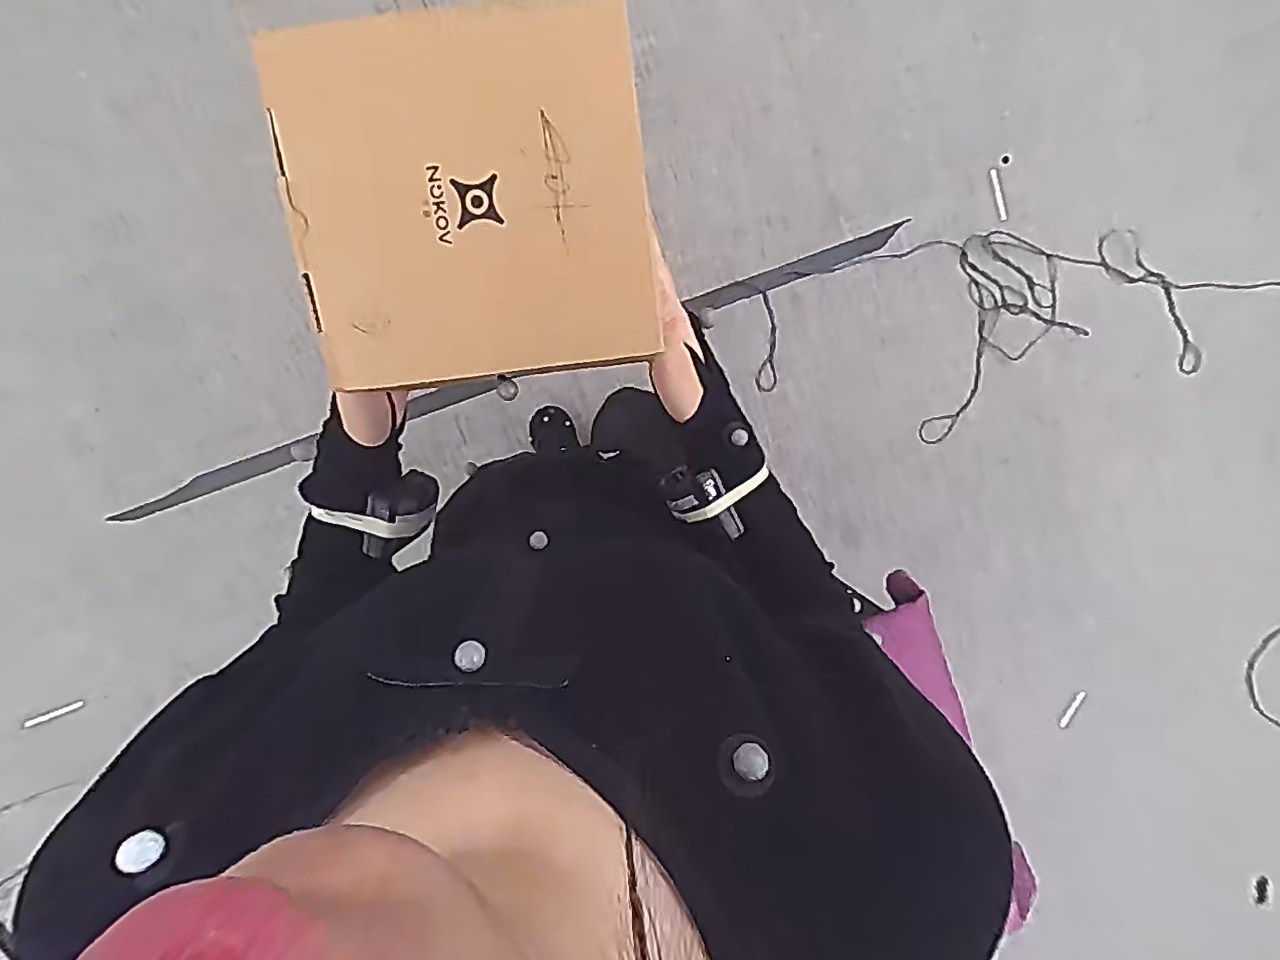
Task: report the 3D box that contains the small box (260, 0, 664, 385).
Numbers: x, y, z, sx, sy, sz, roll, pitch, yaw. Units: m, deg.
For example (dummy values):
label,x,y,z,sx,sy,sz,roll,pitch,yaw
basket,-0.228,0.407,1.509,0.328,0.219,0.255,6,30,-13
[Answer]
label,x,y,z,sx,sy,sz,roll,pitch,yaw
small box,-0.084,-0.150,0.342,0.179,0.176,0.168,-8,102,-1
